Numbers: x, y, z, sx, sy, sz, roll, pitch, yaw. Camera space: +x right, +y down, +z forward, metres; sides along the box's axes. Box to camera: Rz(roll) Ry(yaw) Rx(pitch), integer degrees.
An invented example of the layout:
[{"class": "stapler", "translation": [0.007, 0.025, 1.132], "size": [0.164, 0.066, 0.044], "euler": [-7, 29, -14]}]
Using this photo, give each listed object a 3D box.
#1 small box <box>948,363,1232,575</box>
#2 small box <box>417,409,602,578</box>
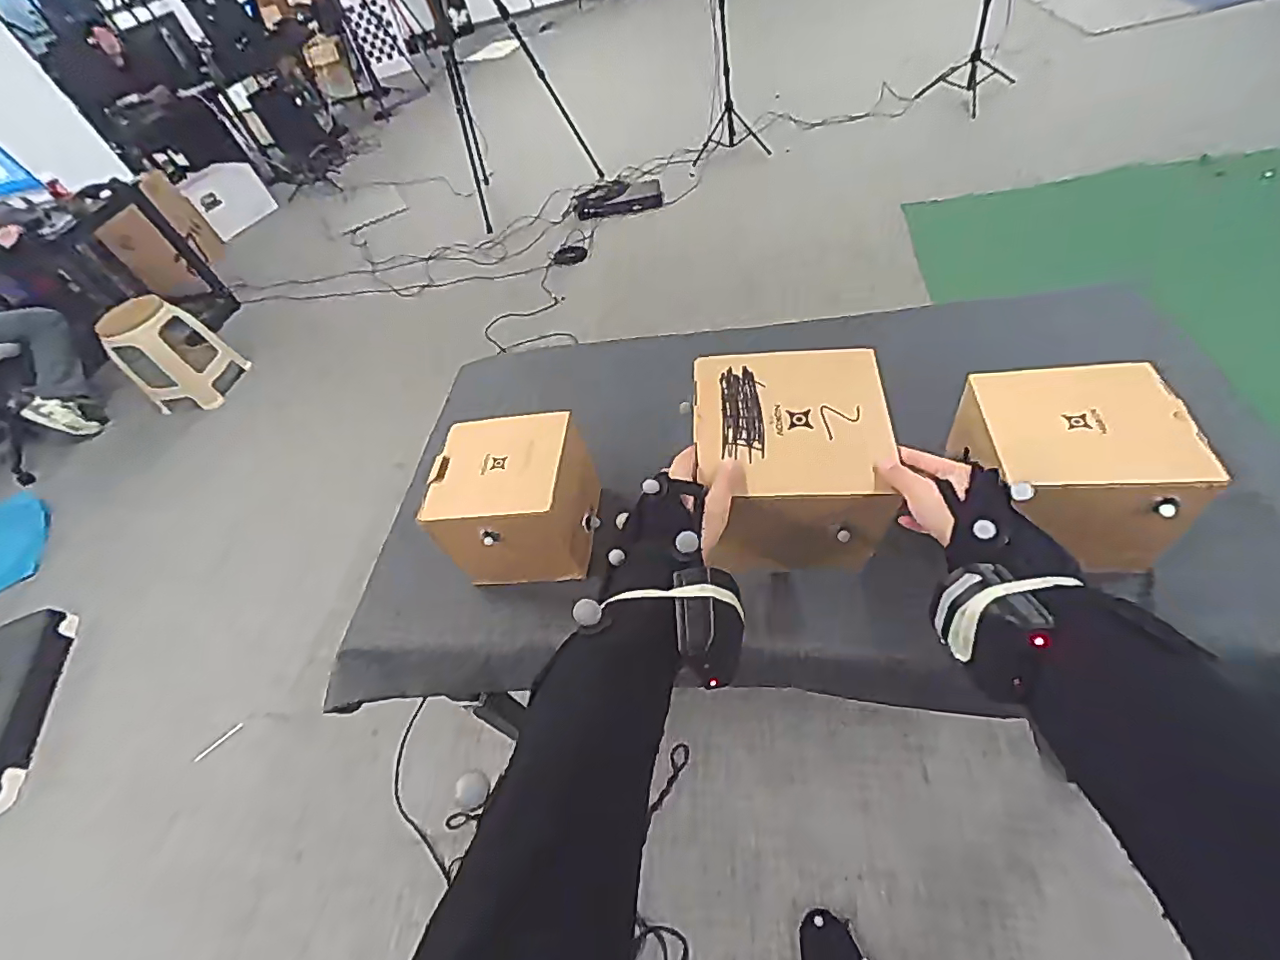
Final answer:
[{"class": "small box", "translation": [0.461, -0.006, 0.600], "size": [0.179, 0.176, 0.168], "euler": [-2, 51, 13]}, {"class": "small box", "translation": [-0.165, 0.025, 0.745], "size": [0.179, 0.176, 0.168], "euler": [-4, 52, 11]}]
